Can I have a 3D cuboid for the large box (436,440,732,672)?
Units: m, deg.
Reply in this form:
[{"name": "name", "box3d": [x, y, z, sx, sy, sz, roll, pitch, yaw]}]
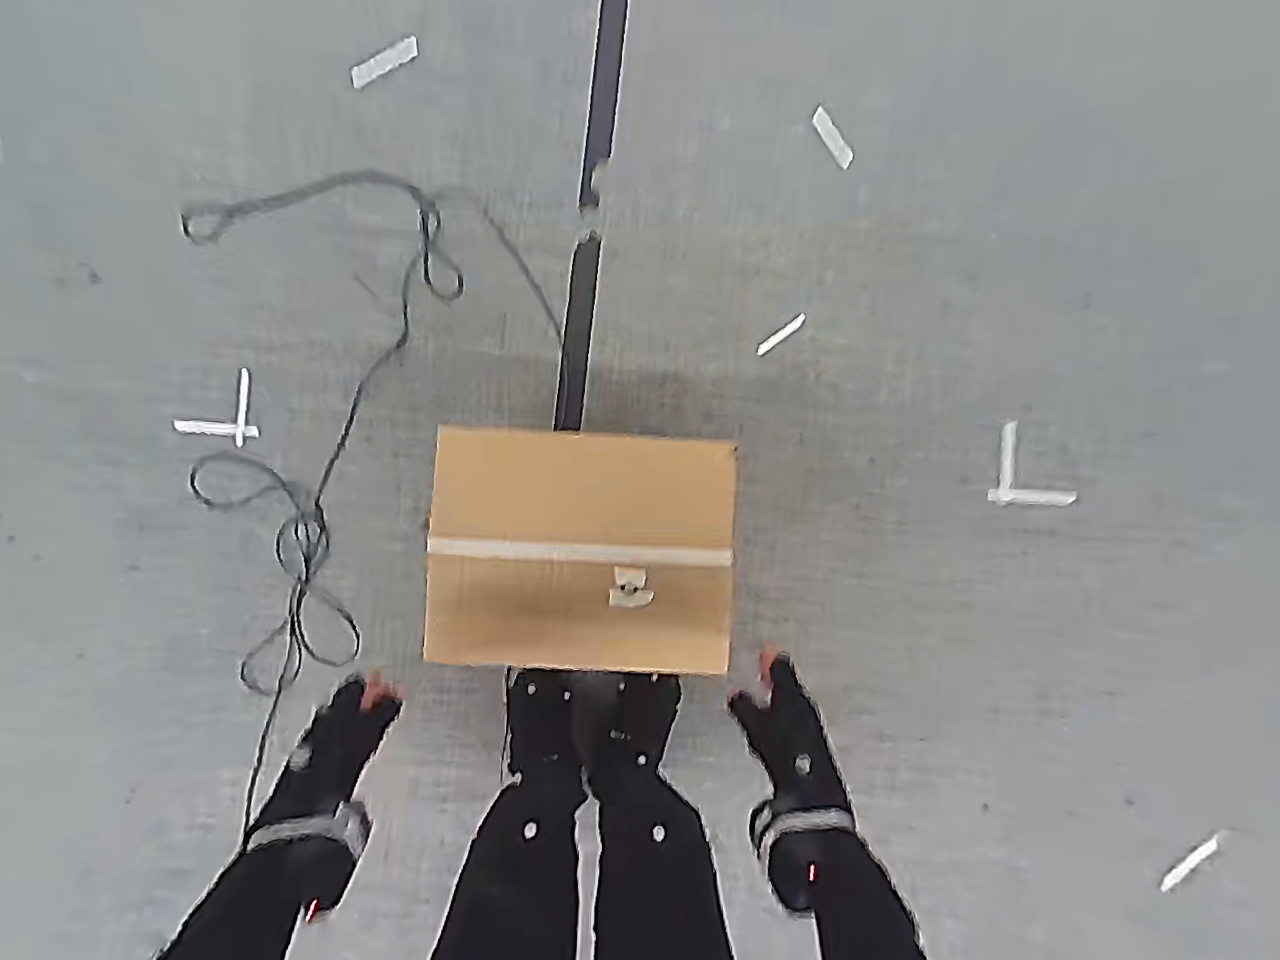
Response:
[{"name": "large box", "box3d": [-0.083, 0.115, 0.894, 0.408, 0.320, 0.320, 3, 87, -3]}]
